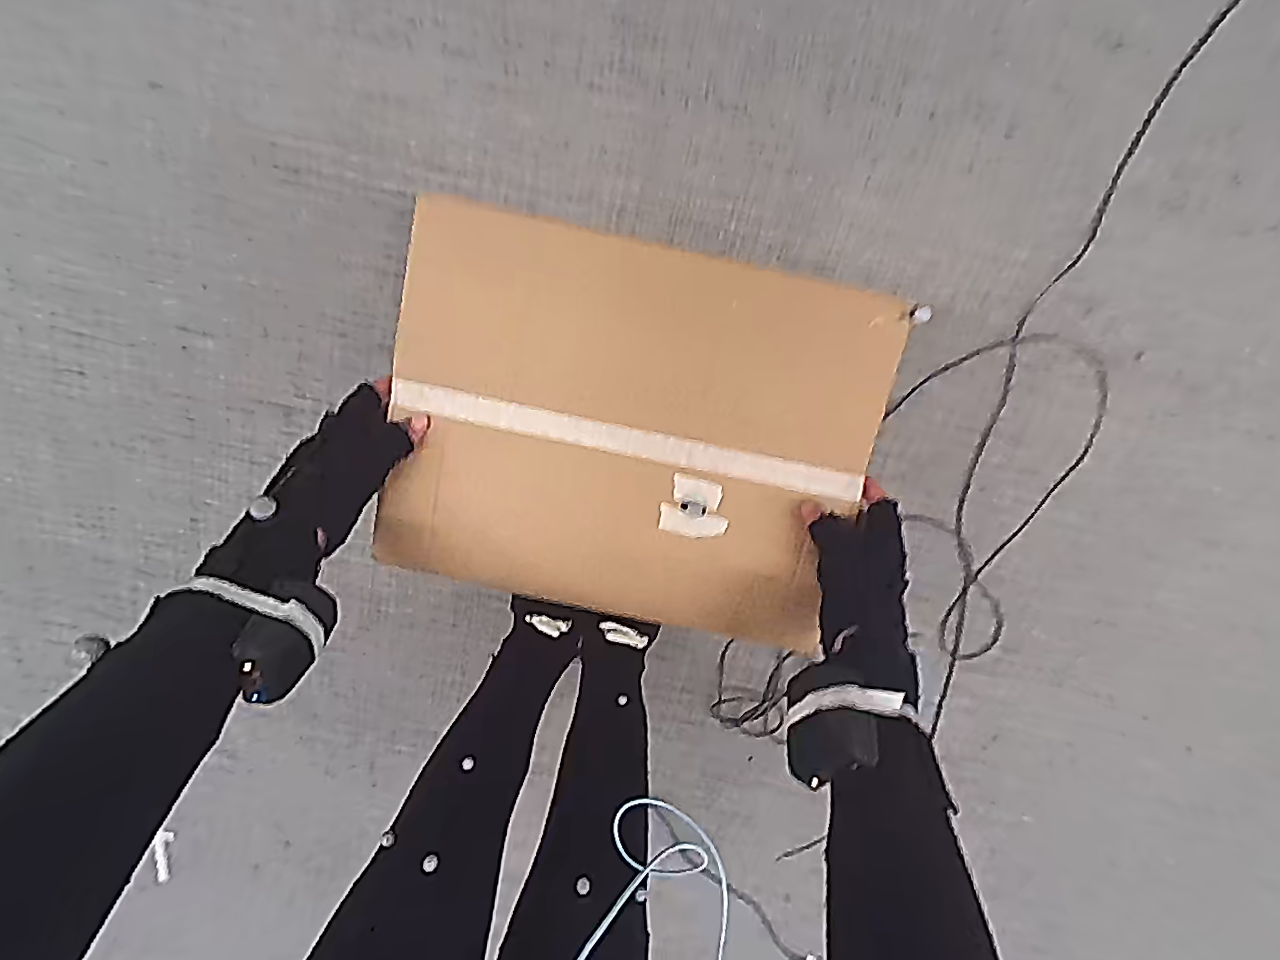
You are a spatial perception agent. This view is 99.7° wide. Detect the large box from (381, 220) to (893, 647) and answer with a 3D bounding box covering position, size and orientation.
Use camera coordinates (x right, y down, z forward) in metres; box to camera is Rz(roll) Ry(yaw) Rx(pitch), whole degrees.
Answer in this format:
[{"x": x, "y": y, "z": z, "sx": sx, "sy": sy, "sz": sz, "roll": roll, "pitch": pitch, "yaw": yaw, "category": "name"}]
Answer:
[{"x": -0.012, "y": -0.051, "z": 0.613, "sx": 0.408, "sy": 0.320, "sz": 0.320, "roll": 12, "pitch": 99, "yaw": -2, "category": "large box"}]
